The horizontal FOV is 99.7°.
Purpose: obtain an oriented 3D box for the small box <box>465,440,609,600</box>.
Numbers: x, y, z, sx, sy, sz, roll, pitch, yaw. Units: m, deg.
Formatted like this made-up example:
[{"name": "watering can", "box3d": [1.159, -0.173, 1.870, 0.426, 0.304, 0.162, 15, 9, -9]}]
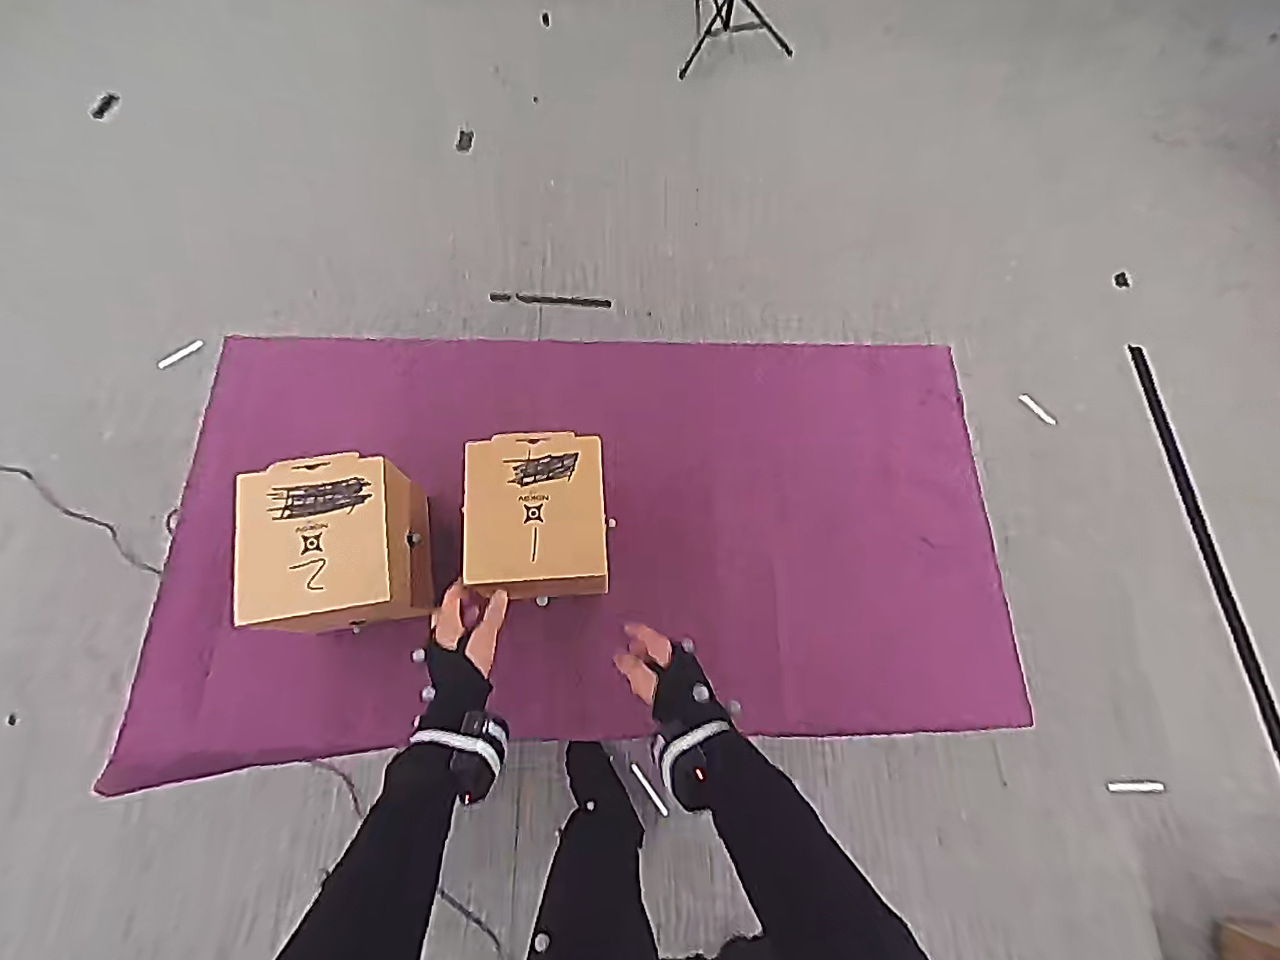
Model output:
[{"name": "small box", "box3d": [-0.128, 0.059, 0.722, 0.168, 0.176, 0.179, -3, 72, -4]}]
